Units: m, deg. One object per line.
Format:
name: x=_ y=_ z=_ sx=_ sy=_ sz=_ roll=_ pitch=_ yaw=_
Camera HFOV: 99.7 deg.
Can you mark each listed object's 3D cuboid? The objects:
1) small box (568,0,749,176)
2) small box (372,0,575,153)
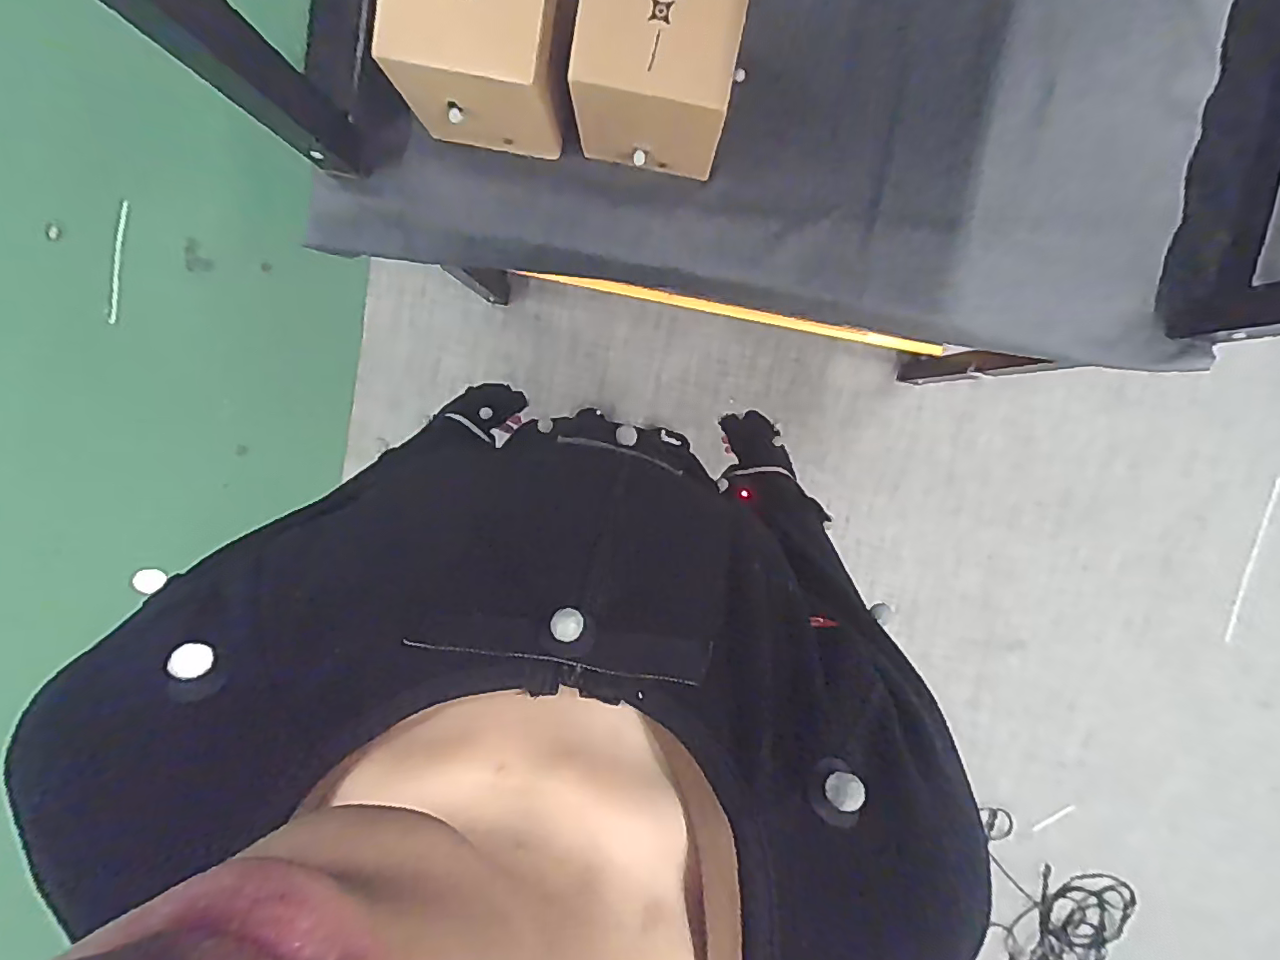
small box: x=0.023 y=-0.480 z=0.607 sx=0.168 sy=0.176 sz=0.179 roll=11 pitch=97 yaw=0
small box: x=-0.172 y=-0.503 z=0.605 sx=0.168 sy=0.176 sz=0.179 roll=10 pitch=96 yaw=-1
